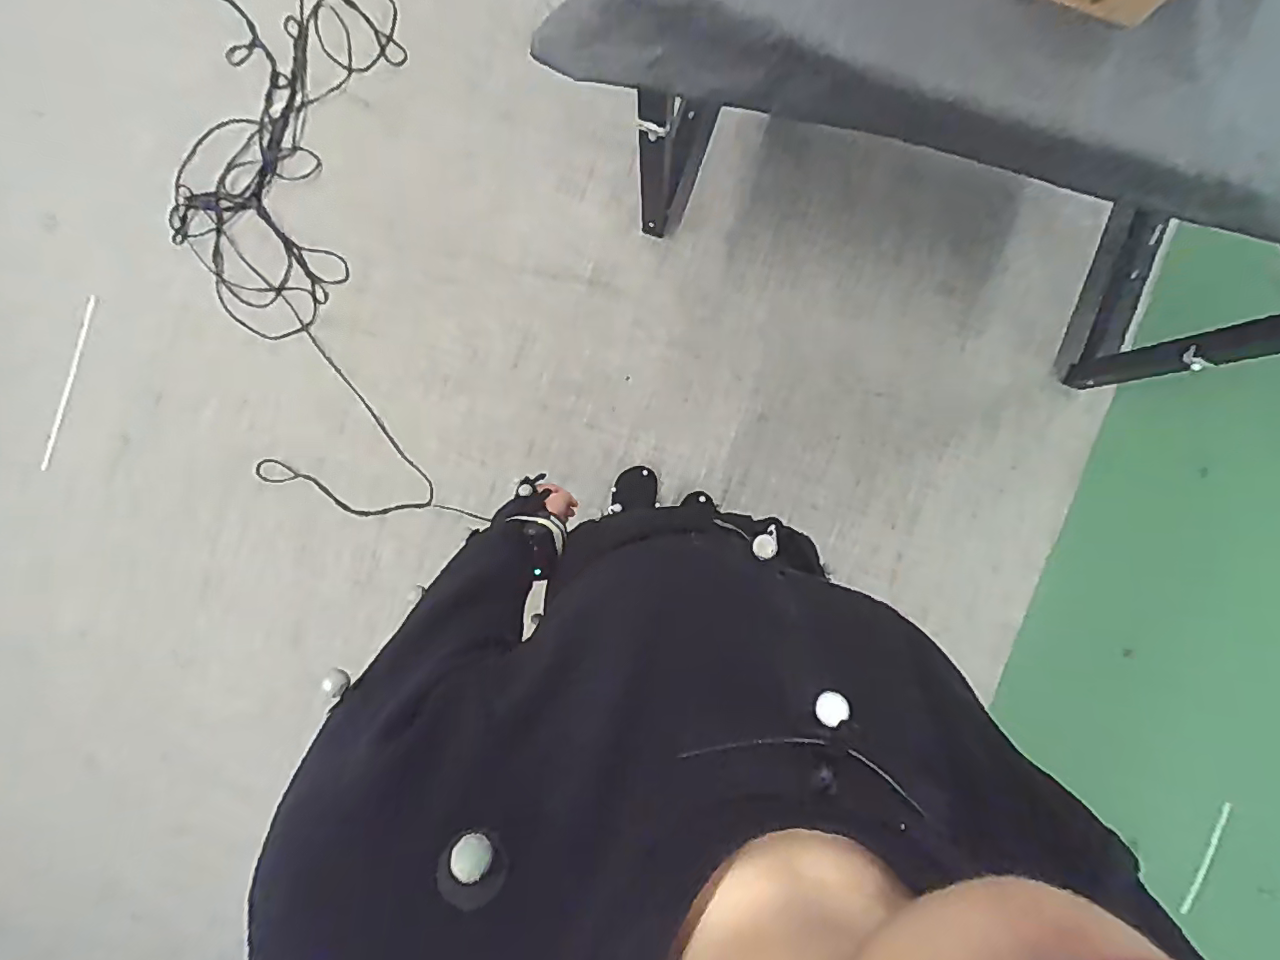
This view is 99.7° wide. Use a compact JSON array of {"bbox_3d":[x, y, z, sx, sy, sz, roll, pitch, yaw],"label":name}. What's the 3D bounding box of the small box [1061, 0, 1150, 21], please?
[{"bbox_3d":[0.518,-0.634,0.544,0.168,0.176,0.179,20,92,0],"label":"small box"}]
